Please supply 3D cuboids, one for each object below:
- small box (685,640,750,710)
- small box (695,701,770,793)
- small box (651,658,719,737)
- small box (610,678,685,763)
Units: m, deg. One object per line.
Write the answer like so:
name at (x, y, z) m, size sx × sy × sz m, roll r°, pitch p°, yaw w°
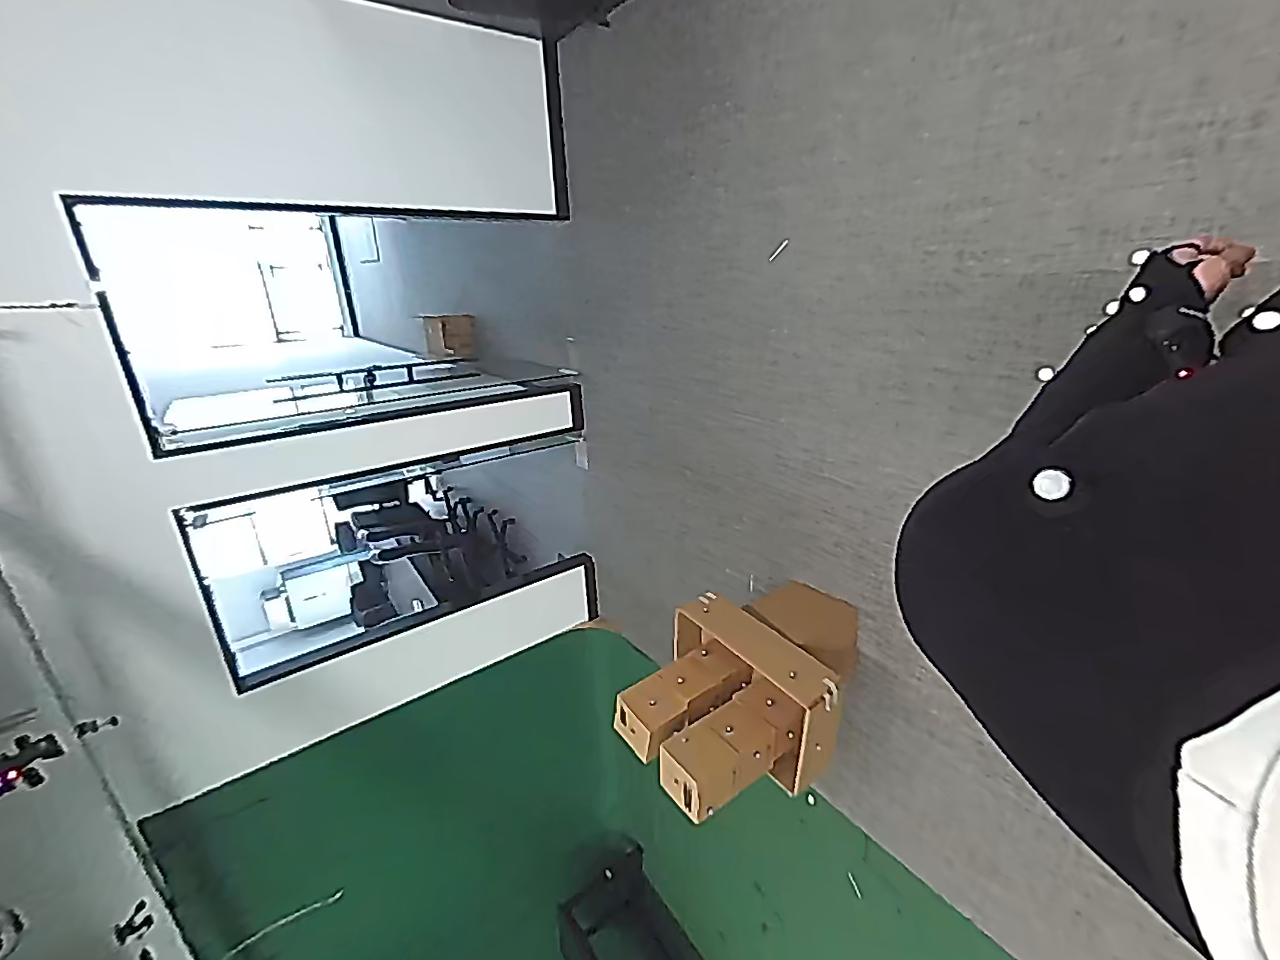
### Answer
small box at (0.280, 0.716, 1.999) m, size 0.179 × 0.176 × 0.168 m, roll 26°, pitch 124°, yaw 47°
small box at (0.297, 0.844, 1.731) m, size 0.179 × 0.176 × 0.168 m, roll 25°, pitch 122°, yaw 50°
small box at (0.155, 0.754, 1.905) m, size 0.179 × 0.176 × 0.168 m, roll 24°, pitch 122°, yaw 46°
small box at (0.023, 0.795, 1.816) m, size 0.179 × 0.176 × 0.168 m, roll 35°, pitch 129°, yaw 40°
